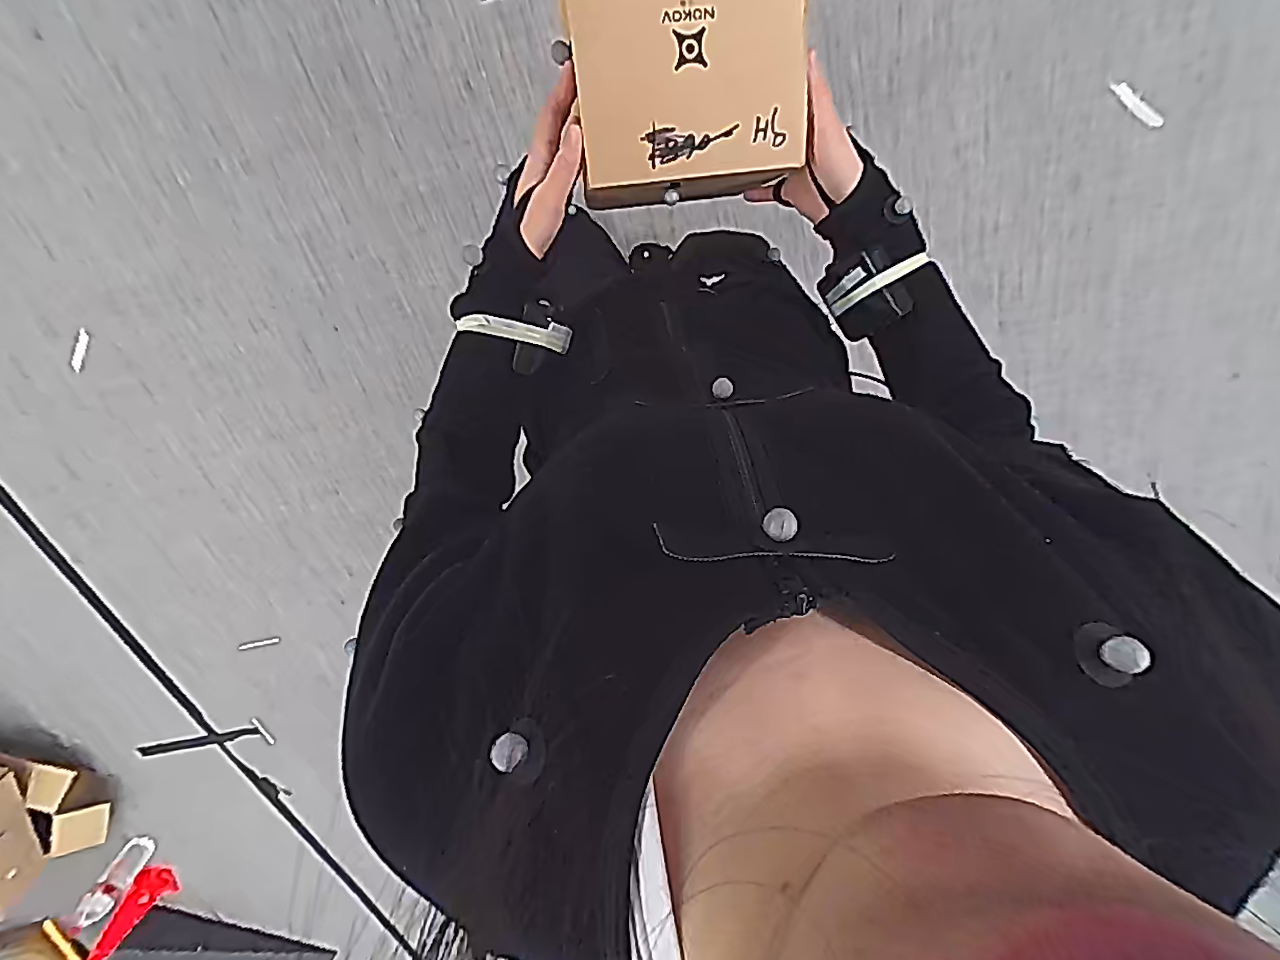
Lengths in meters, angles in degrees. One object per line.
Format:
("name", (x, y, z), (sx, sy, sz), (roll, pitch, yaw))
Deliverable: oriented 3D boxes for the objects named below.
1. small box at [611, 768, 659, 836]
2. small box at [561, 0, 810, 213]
("small box", (-0.020, 1.253, 2.110), (0.179, 0.176, 0.168), (2, 116, -2))
("small box", (0.027, -0.330, 0.441), (0.168, 0.176, 0.179), (-8, 112, -3))
